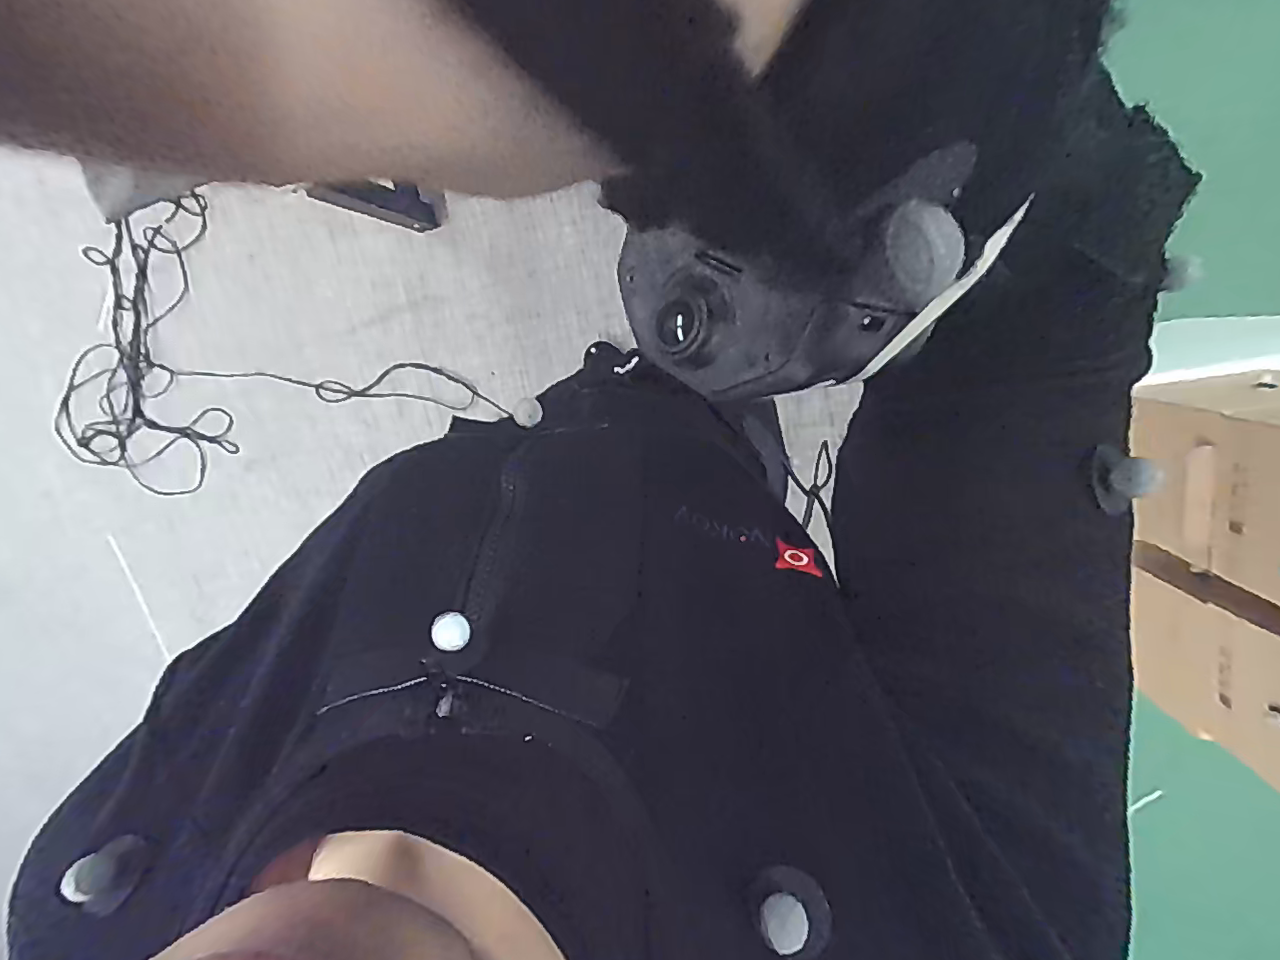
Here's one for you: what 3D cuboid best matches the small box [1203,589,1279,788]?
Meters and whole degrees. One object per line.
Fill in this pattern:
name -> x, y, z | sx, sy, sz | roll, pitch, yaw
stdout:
small box -> 0.665, 0.203, 0.482 | 0.179, 0.176, 0.168 | -12, 103, 10
